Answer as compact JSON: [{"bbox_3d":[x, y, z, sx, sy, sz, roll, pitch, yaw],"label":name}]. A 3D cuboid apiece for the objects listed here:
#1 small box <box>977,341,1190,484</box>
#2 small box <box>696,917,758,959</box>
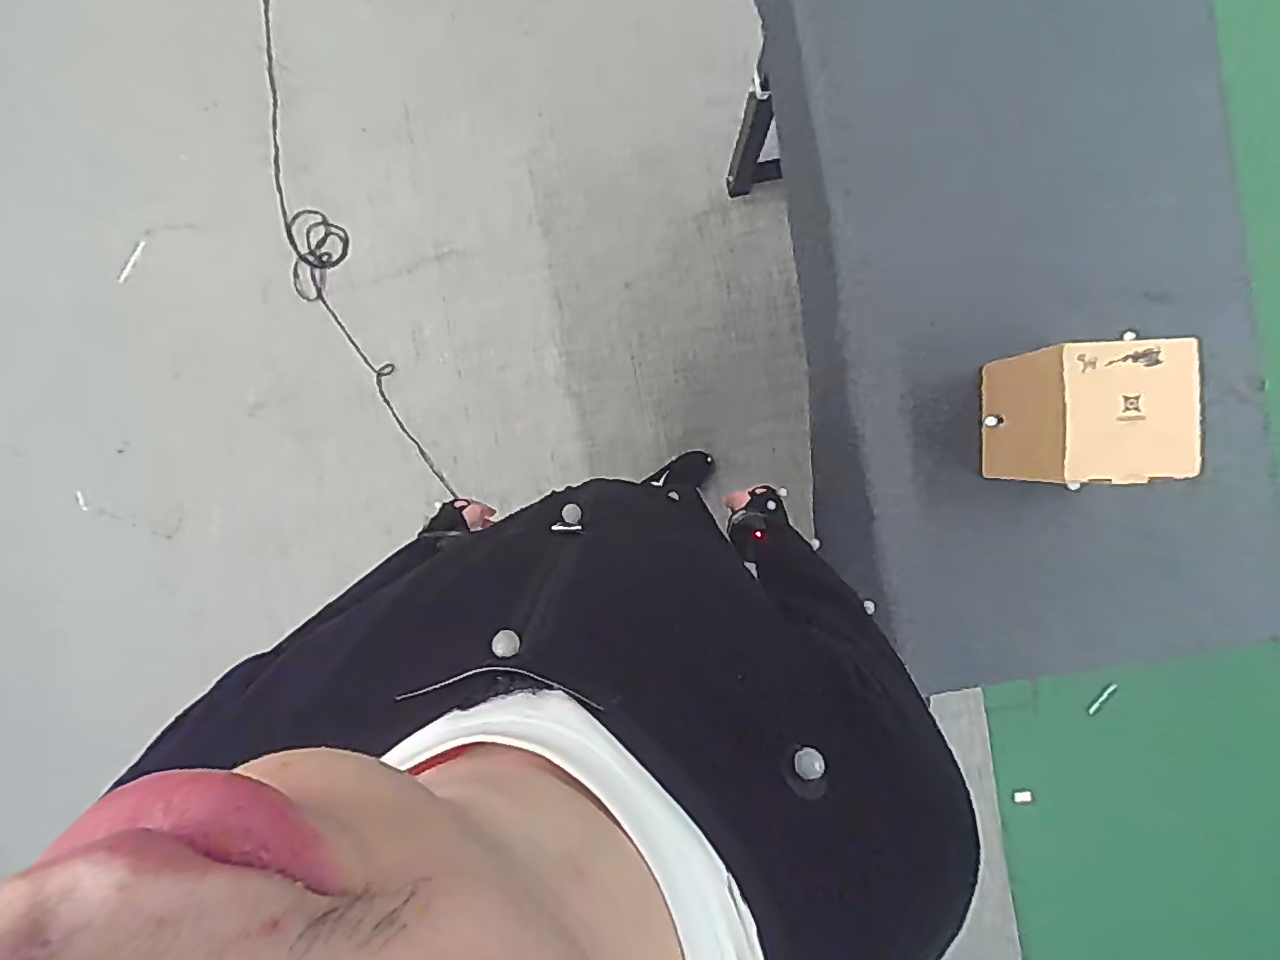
[{"bbox_3d":[0.604,-0.090,0.758,0.168,0.176,0.179,-2,93,1],"label":"small box"},{"bbox_3d":[0.260,1.415,1.554,0.168,0.176,0.179,-8,93,-1],"label":"small box"}]
